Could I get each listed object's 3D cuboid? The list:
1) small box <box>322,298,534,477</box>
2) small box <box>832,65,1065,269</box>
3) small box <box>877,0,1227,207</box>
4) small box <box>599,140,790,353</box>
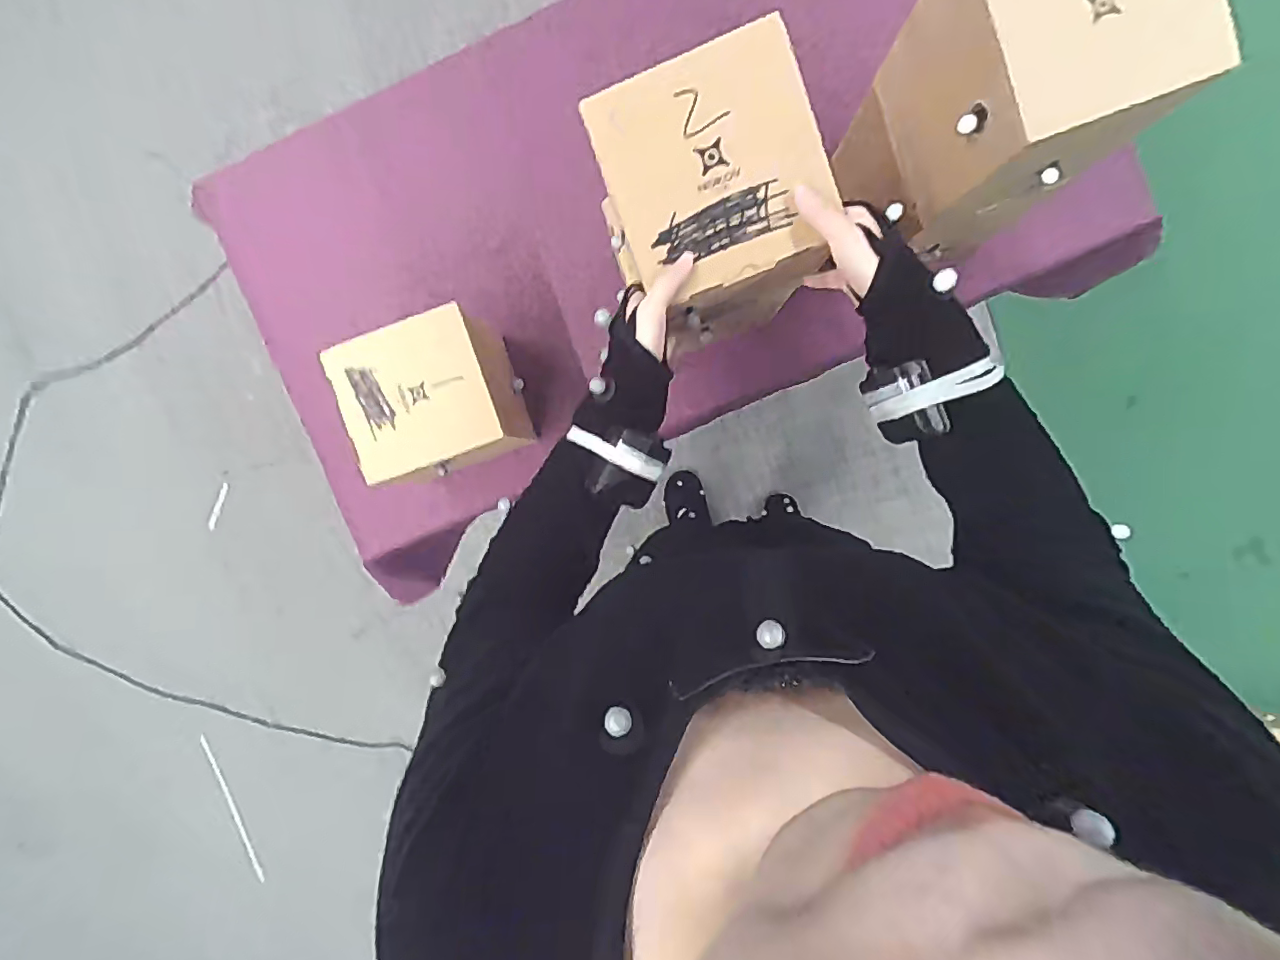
[{"bbox_3d":[-0.260,-0.108,0.703,0.179,0.176,0.168,-20,92,3],"label":"small box"},{"bbox_3d":[0.355,-0.389,0.658,0.168,0.176,0.179,-18,92,4],"label":"small box"},{"bbox_3d":[0.348,-0.380,0.494,0.168,0.176,0.179,-19,92,3],"label":"small box"},{"bbox_3d":[0.066,-0.272,0.678,0.179,0.176,0.168,-19,92,5],"label":"small box"}]
